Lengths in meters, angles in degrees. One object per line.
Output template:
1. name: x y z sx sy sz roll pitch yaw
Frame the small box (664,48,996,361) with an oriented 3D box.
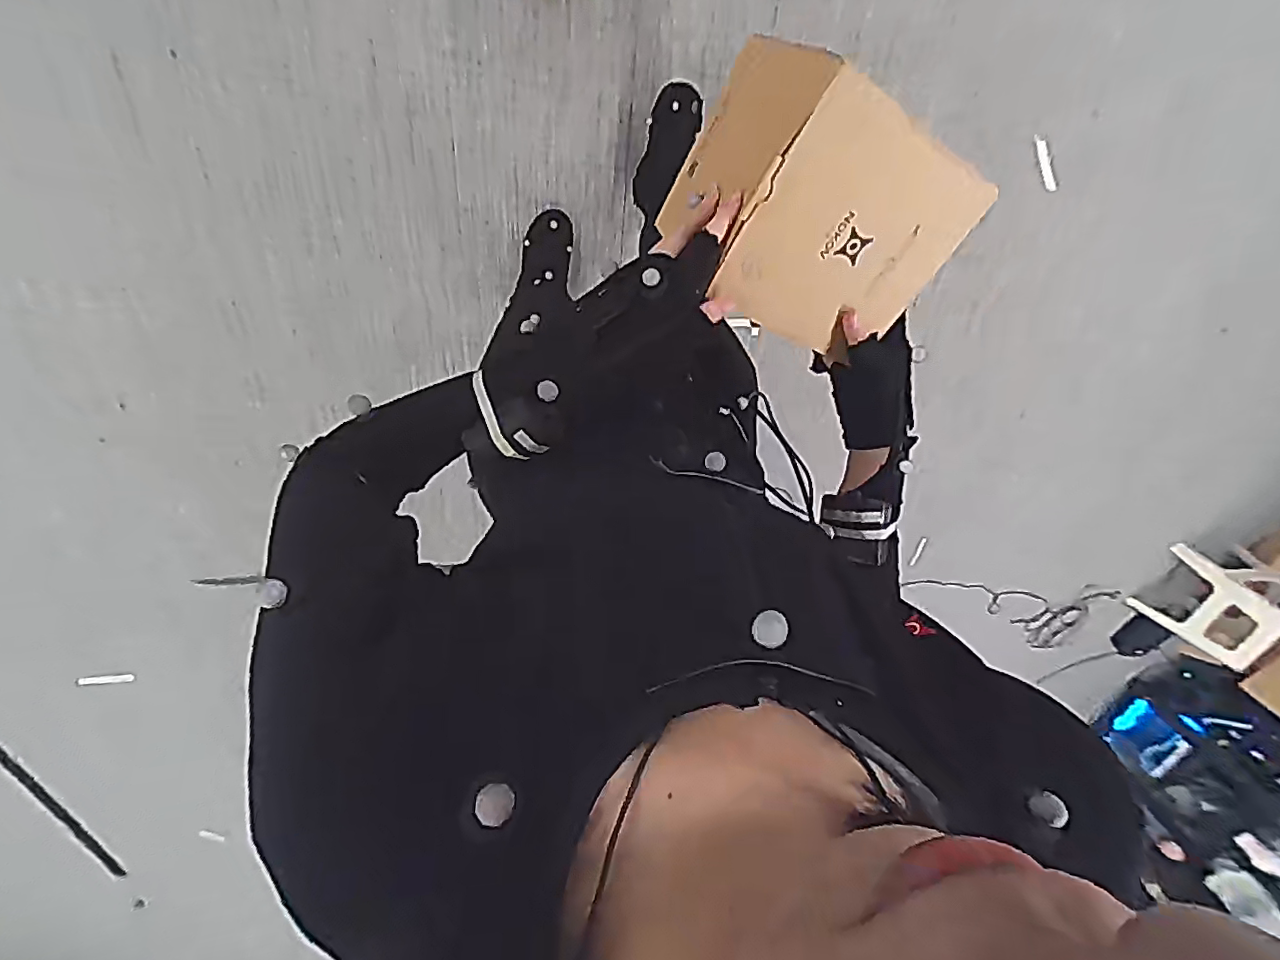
1. small box: 0.142 -0.236 0.468 0.179 0.176 0.168 13 128 -27
